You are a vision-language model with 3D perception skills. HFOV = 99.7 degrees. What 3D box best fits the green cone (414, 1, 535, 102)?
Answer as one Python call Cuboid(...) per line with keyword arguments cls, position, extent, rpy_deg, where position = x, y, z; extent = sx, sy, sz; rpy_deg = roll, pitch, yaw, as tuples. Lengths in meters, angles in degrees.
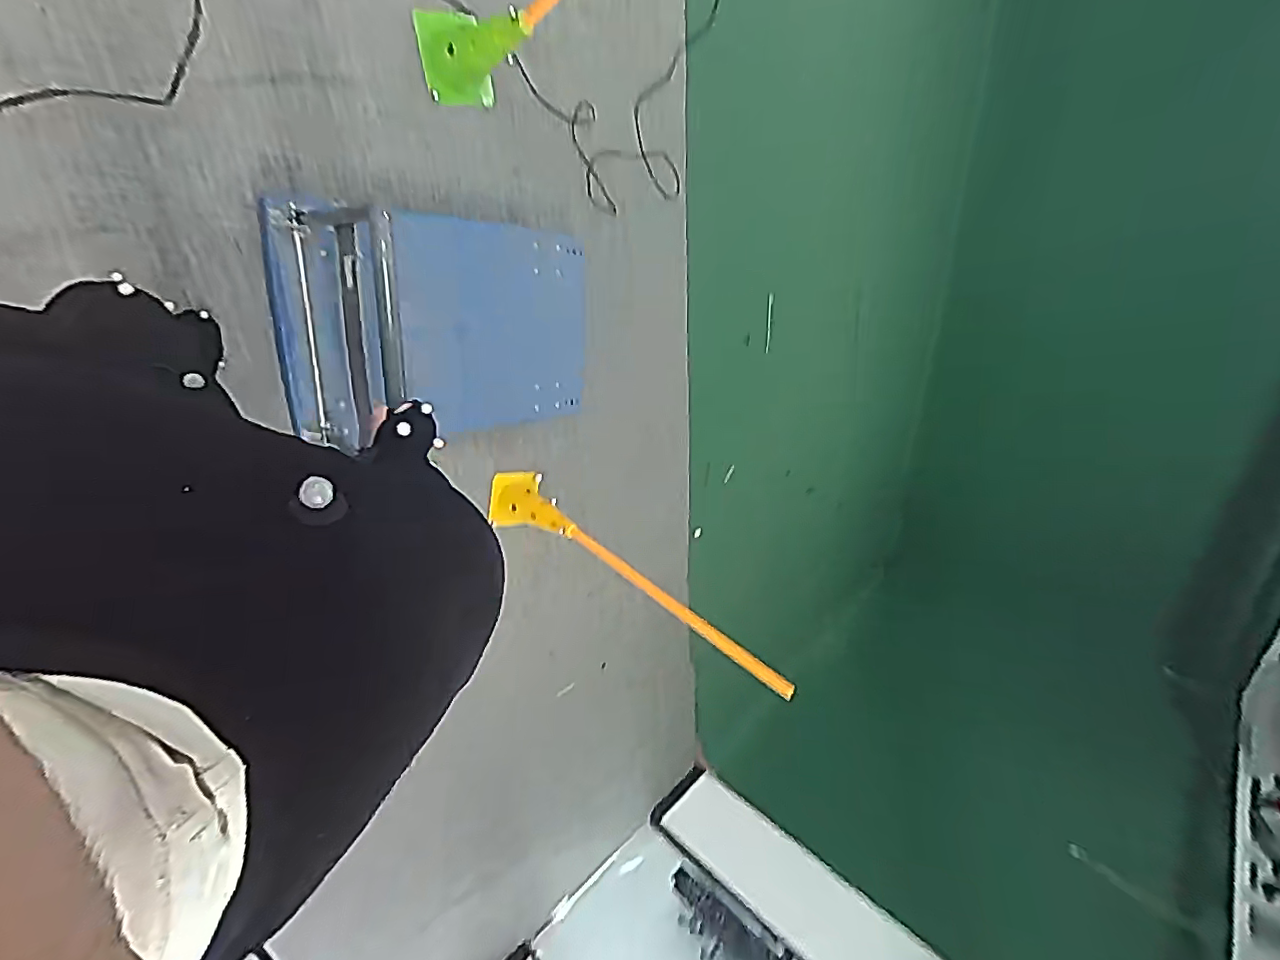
Cuboid(cls="green cone", position=(-0.372, -1.098, 1.343), extent=(0.200, 0.368, 0.202), rpy_deg=(-29, 124, -36))
